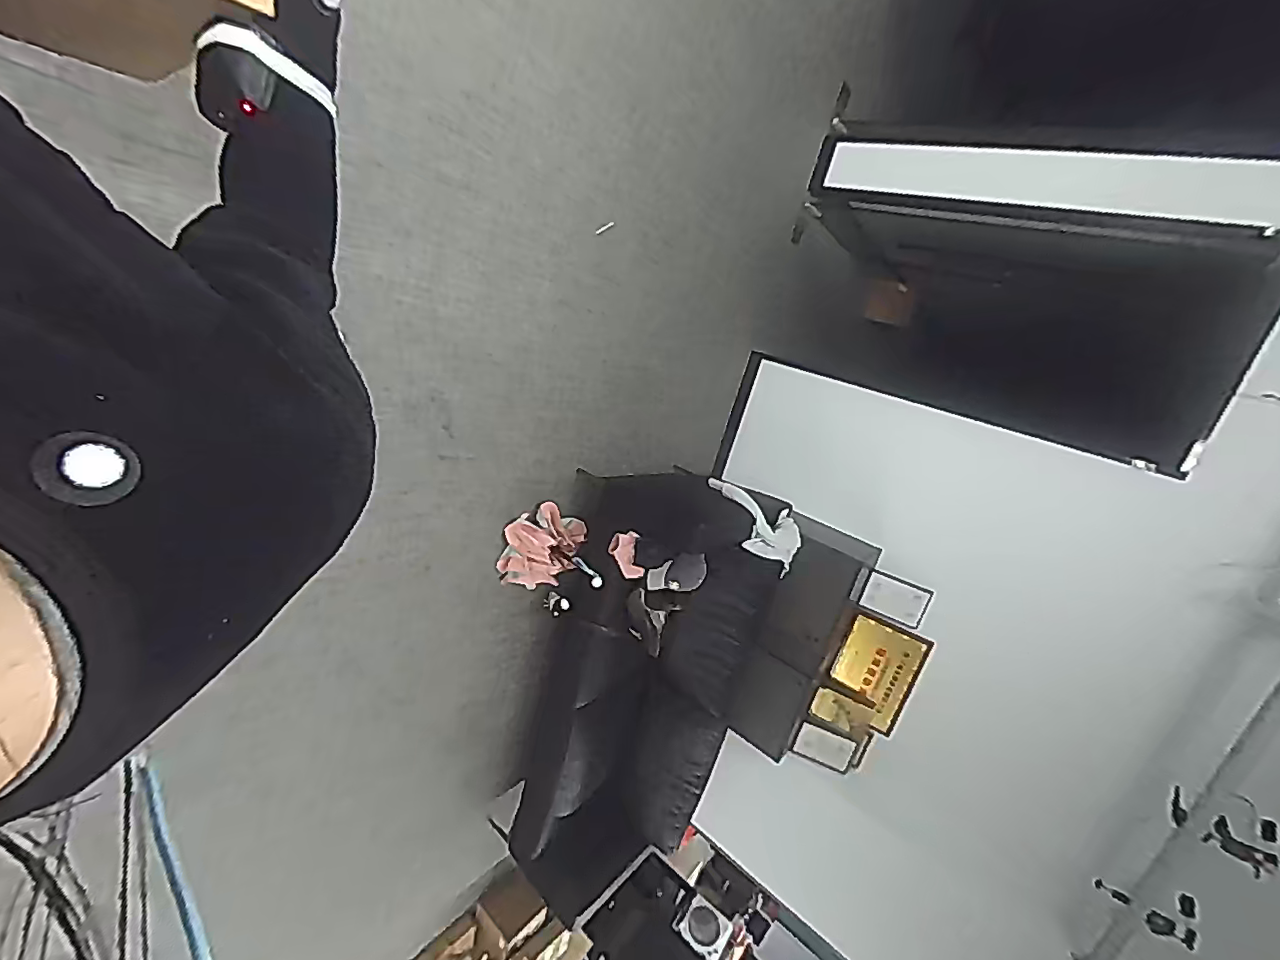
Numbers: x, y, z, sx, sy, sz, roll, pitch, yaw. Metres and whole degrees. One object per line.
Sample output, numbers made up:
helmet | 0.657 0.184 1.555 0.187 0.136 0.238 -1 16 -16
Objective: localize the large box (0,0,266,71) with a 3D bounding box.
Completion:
large box | -0.504 -0.499 0.298 0.408 0.320 0.320 -15 116 -51
